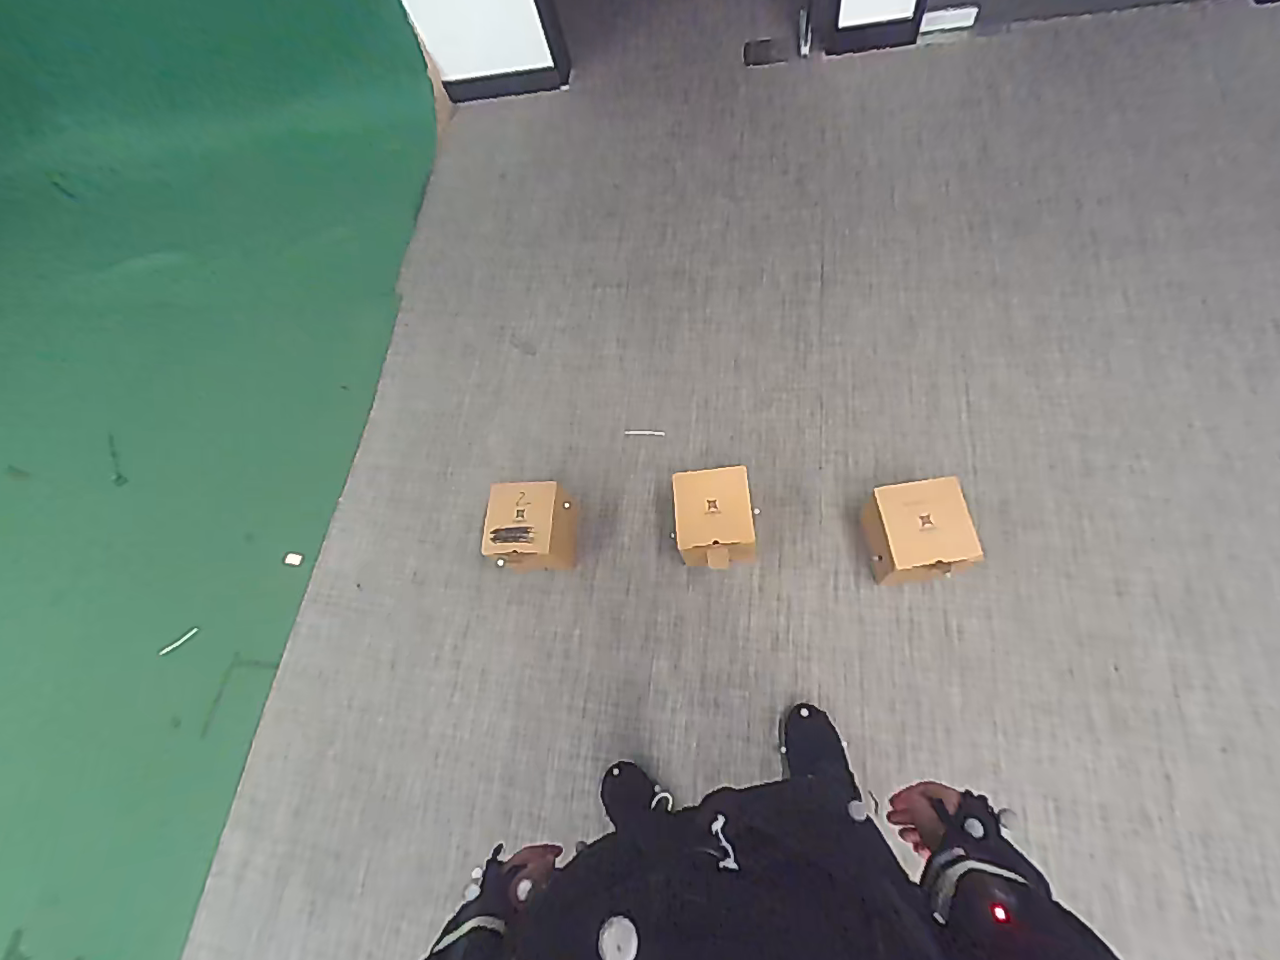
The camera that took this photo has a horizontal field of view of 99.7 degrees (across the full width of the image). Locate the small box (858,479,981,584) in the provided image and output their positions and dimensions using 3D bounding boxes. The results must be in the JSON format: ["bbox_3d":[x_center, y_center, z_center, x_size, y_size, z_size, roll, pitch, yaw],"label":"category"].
[{"bbox_3d":[0.579,0.118,1.146,0.168,0.176,0.179,-9,66,6],"label":"small box"}]

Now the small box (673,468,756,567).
[{"bbox_3d":[0.170,0.091,1.238,0.168,0.176,0.179,-7,68,9],"label":"small box"}]
